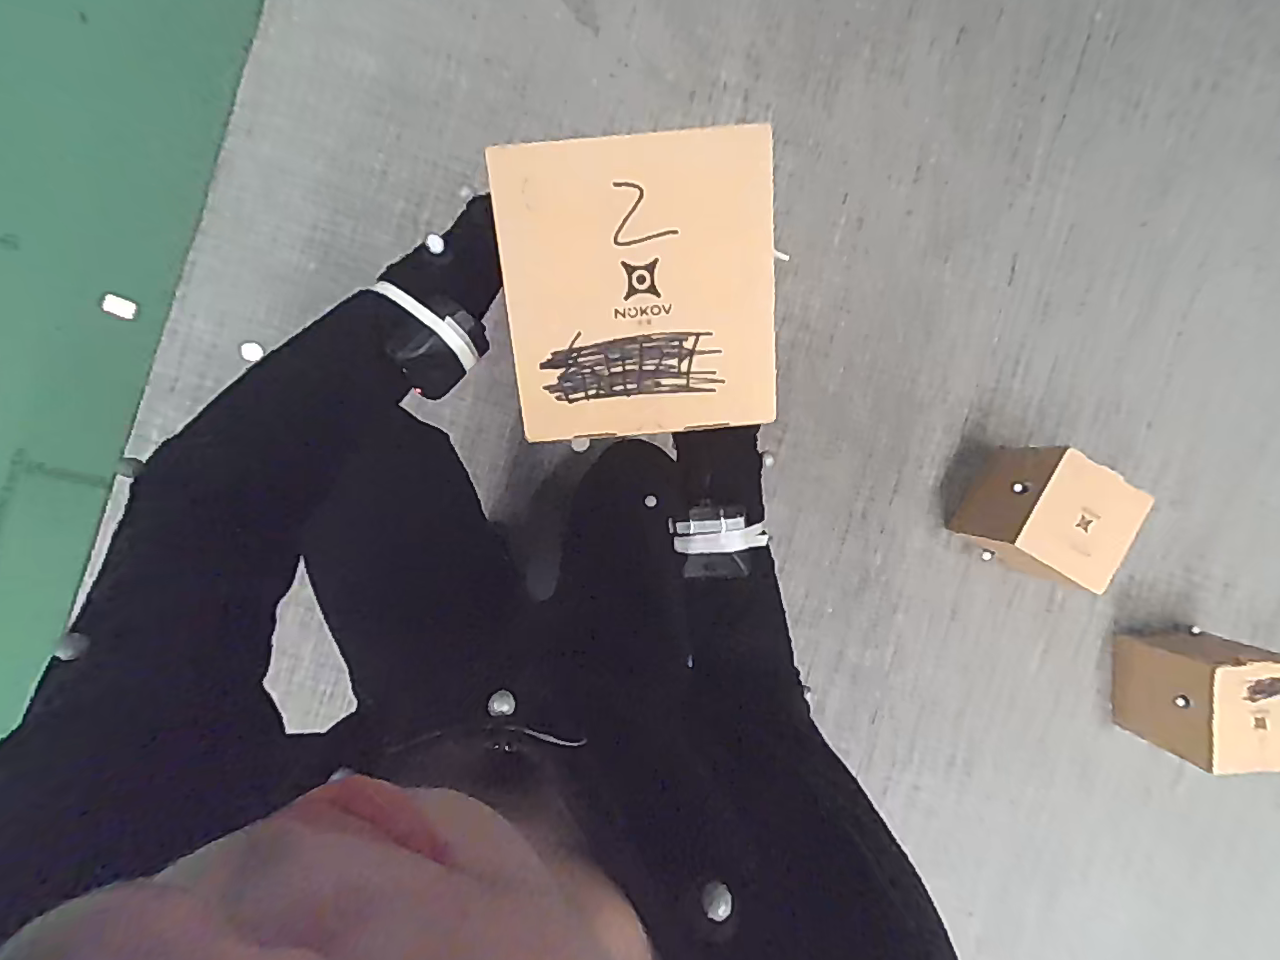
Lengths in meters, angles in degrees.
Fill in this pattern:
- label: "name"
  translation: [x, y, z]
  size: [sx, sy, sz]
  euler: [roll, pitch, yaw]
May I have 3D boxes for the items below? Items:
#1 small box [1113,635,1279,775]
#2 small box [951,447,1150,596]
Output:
- label: "small box"
  translation: [0.964, 0.372, 0.928]
  size: [0.168, 0.176, 0.179]
  euler: [-1, 92, -4]
- label: "small box"
  translation: [0.665, 0.061, 0.898]
  size: [0.168, 0.176, 0.179]
  euler: [30, 89, -4]
